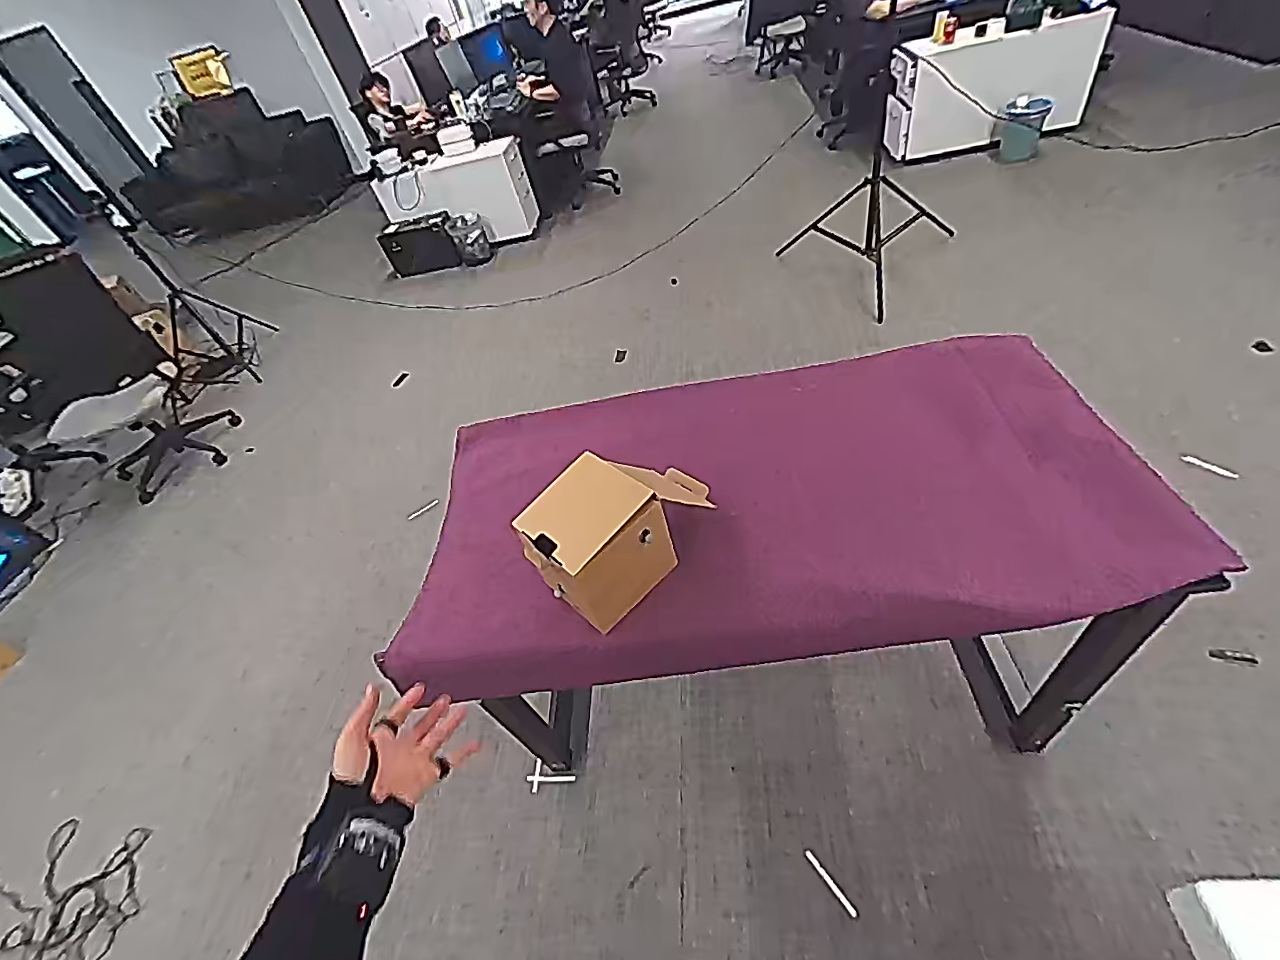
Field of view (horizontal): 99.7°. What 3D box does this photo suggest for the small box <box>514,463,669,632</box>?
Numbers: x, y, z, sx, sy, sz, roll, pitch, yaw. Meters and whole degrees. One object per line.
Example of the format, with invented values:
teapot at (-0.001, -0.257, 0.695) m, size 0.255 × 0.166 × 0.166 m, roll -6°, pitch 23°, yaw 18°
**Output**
small box at (-0.069, 0.109, 0.884) m, size 0.179 × 0.176 × 0.168 m, roll -40°, pitch 47°, yaw -23°
